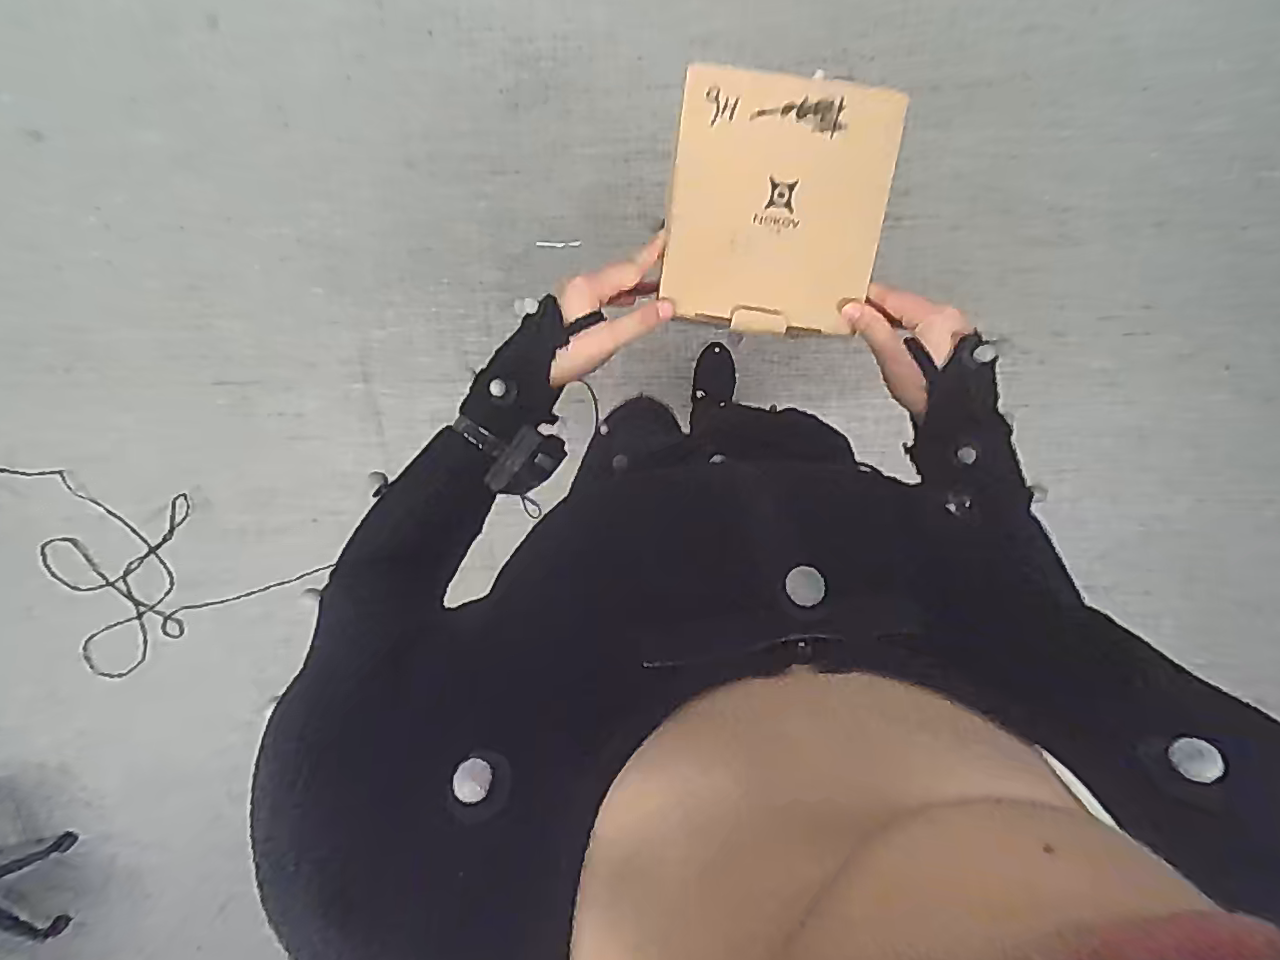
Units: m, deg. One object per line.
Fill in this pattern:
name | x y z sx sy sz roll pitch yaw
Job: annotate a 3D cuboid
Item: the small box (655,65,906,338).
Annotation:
small box | 0.104 -0.231 0.492 0.168 0.176 0.179 6 107 -2
